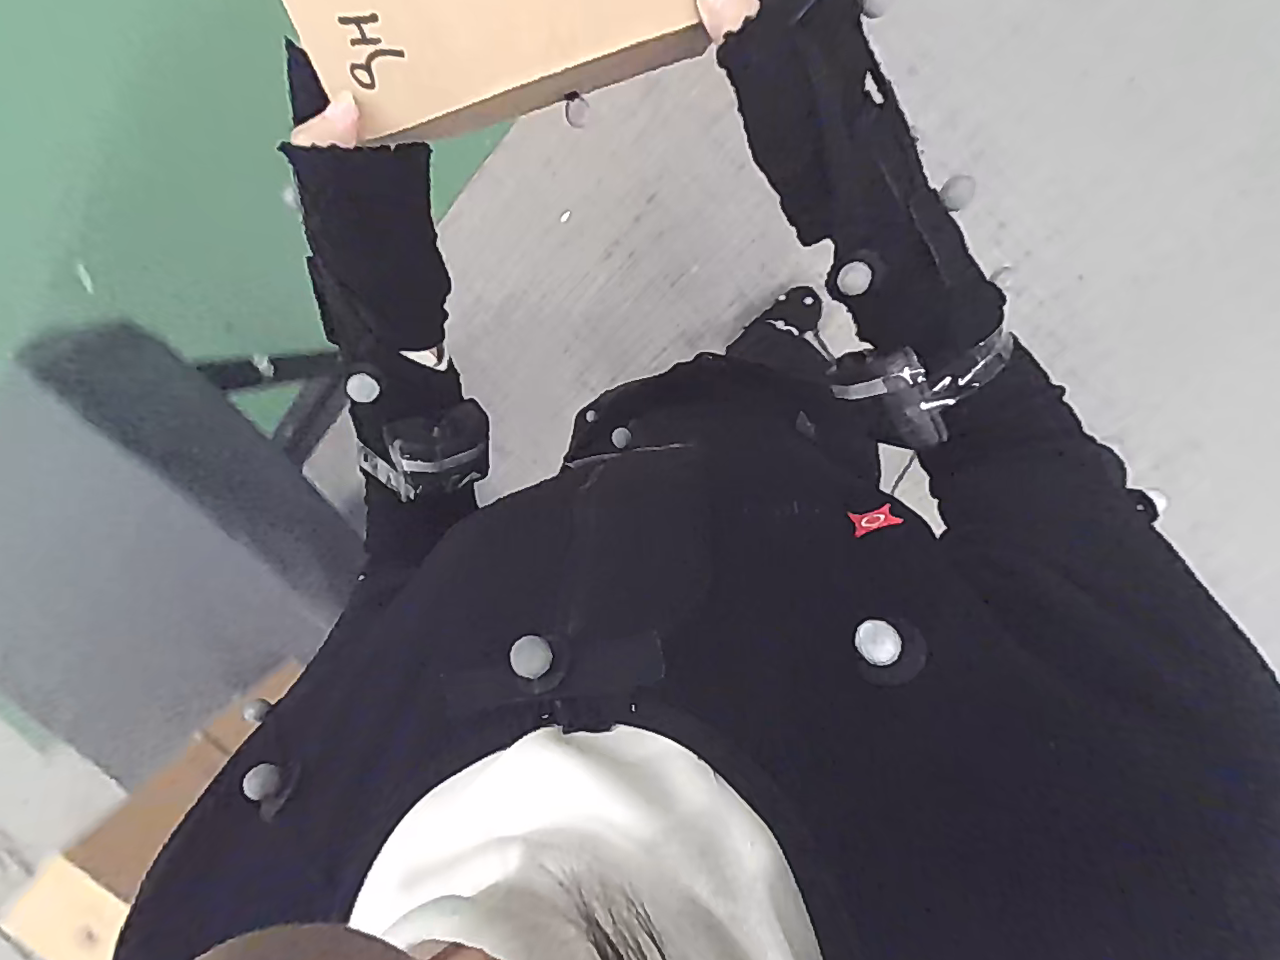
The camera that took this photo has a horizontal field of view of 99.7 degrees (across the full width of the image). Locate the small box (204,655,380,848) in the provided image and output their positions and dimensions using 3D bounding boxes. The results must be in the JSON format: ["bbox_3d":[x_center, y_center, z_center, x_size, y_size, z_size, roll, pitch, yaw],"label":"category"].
[{"bbox_3d":[-0.539,0.404,0.819,0.179,0.176,0.168,43,108,-4],"label":"small box"}]

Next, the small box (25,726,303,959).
[{"bbox_3d":[-0.567,0.452,0.667,0.168,0.176,0.179,43,107,-6],"label":"small box"}]
